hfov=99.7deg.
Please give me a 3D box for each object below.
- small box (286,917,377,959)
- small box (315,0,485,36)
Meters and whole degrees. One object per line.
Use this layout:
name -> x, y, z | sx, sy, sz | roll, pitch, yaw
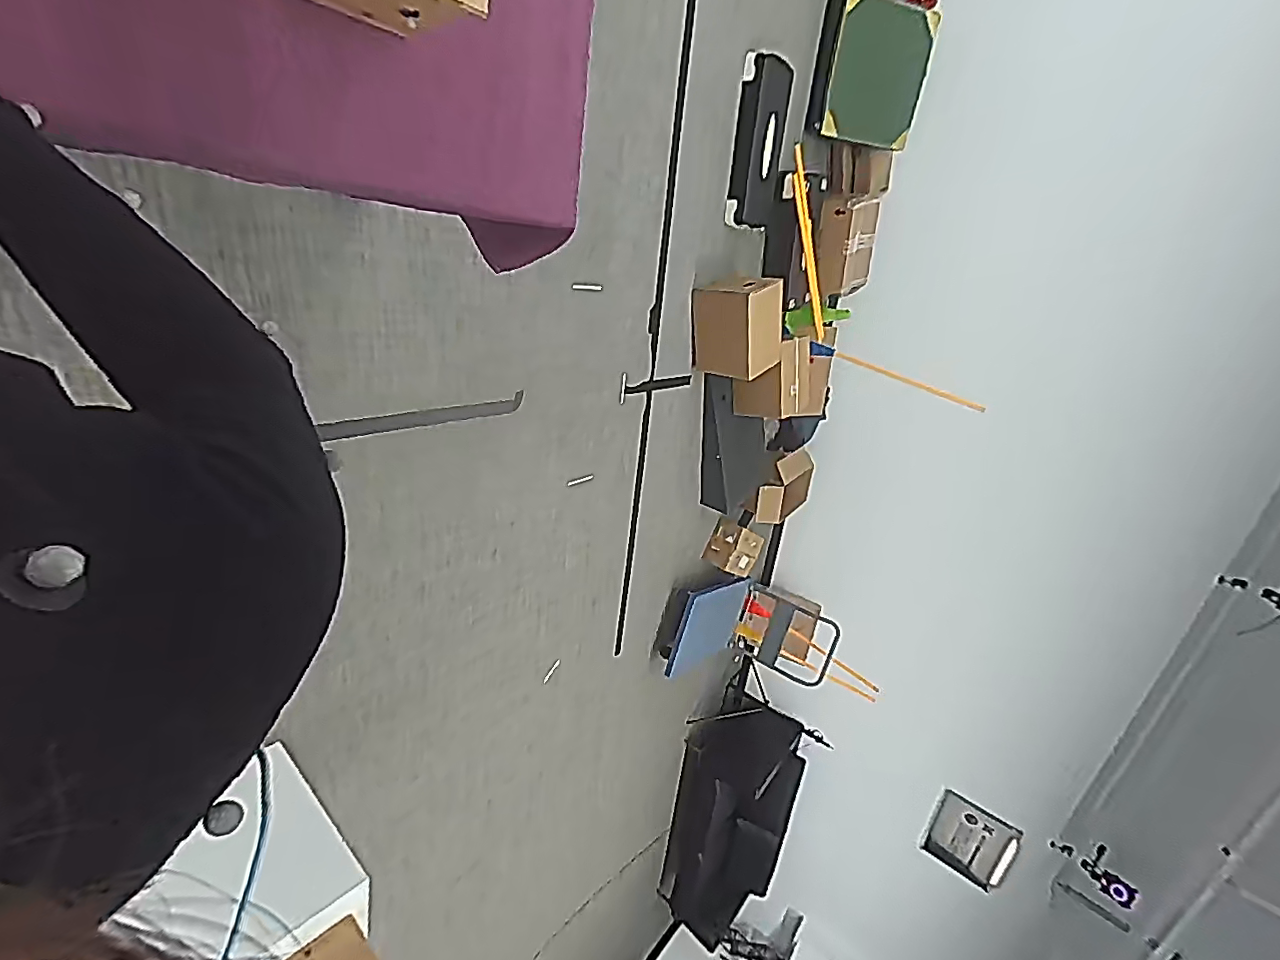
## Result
small box -> -0.696, 1.154, 1.217 | 0.168, 0.176, 0.179 | -12, 120, -51
small box -> -0.270, -0.578, 0.535 | 0.168, 0.176, 0.179 | -20, 124, -48
